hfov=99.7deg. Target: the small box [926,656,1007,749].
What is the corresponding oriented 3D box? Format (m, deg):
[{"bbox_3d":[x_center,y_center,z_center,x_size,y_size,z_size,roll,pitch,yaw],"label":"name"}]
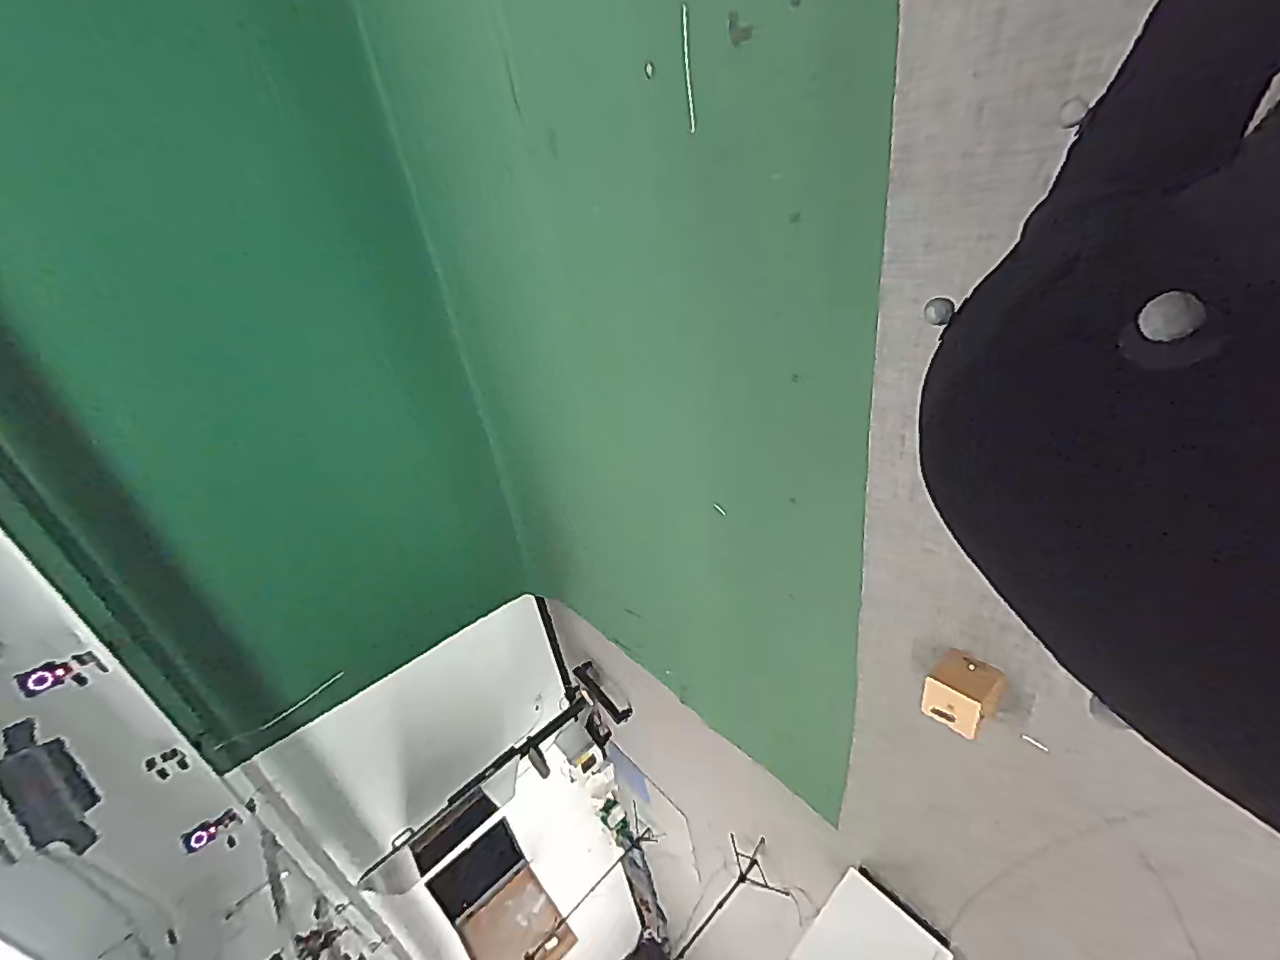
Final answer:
[{"bbox_3d":[1.053,0.712,1.746,0.168,0.176,0.179,24,131,46],"label":"small box"}]
